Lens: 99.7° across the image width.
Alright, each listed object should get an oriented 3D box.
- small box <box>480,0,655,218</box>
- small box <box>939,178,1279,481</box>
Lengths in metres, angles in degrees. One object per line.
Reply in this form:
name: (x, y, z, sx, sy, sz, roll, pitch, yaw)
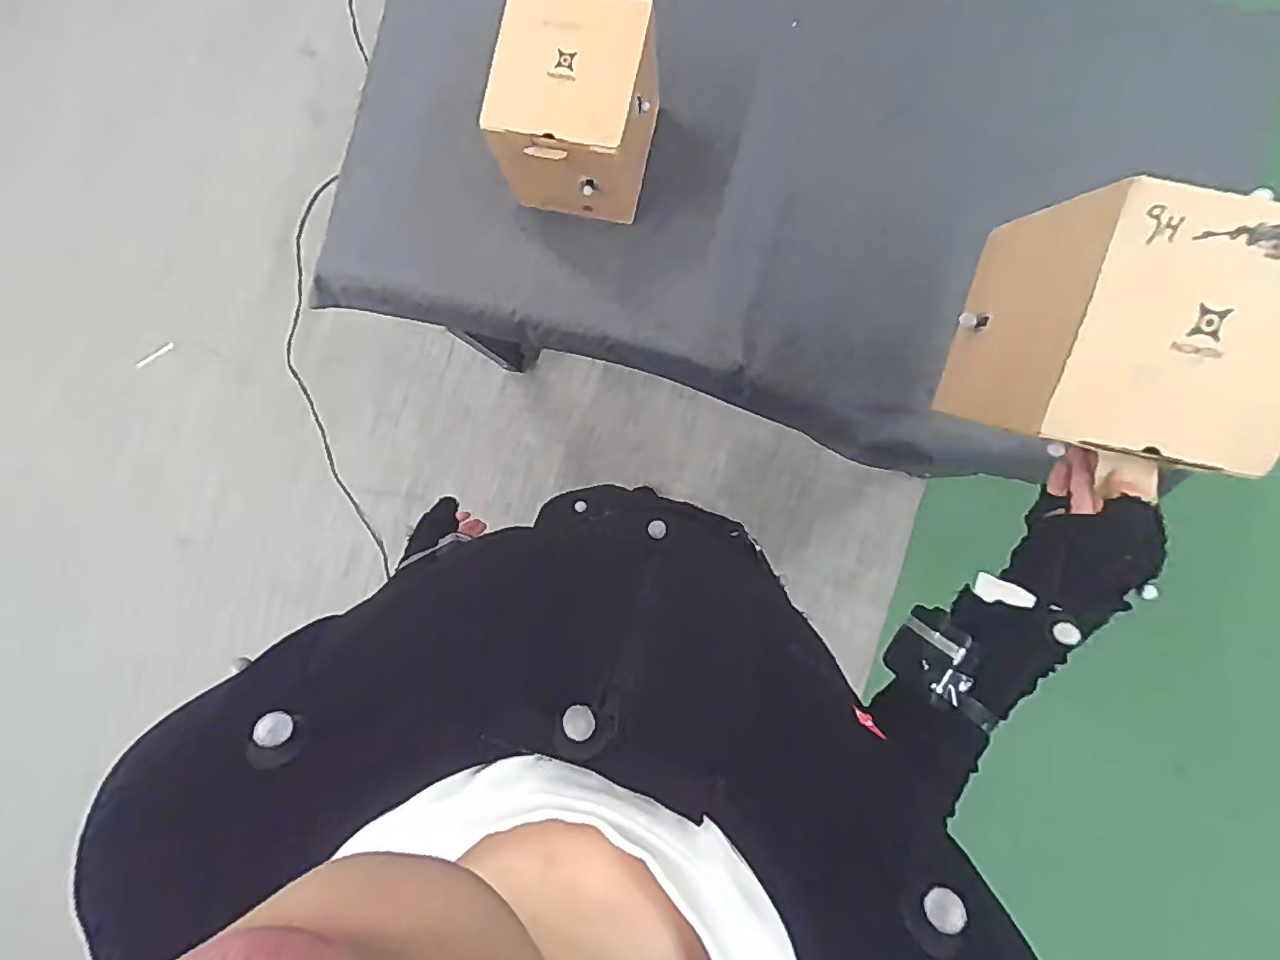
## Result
small box: (-0.077, -0.461, 0.678, 0.168, 0.176, 0.179, 12, 89, 4)
small box: (0.383, -0.118, 0.448, 0.168, 0.176, 0.179, 12, 105, 0)
